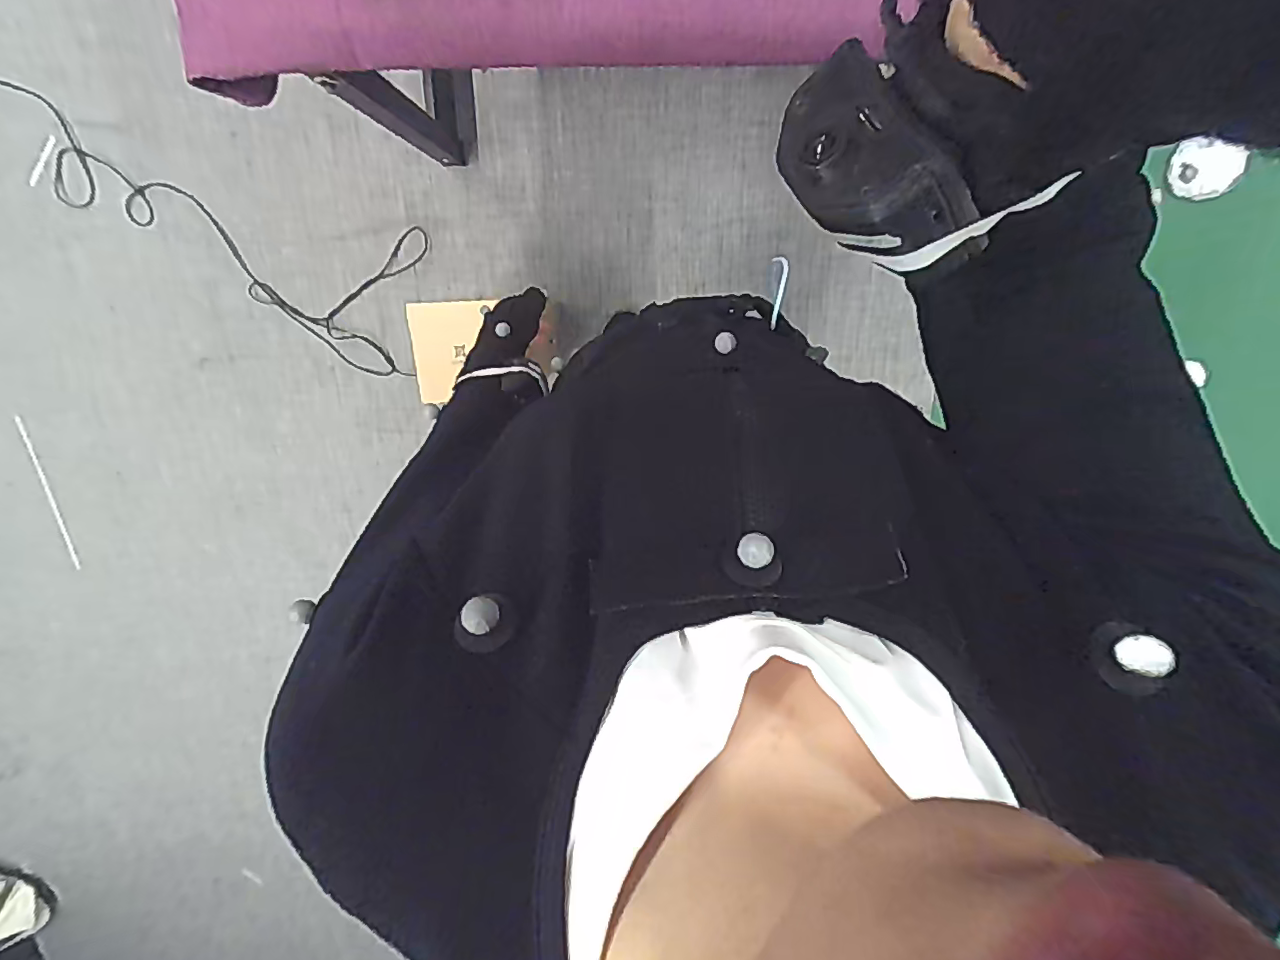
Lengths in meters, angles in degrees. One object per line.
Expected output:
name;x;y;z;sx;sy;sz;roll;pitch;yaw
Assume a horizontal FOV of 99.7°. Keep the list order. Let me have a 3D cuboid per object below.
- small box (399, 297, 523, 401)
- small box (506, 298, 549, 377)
small box;-0.323;-0.250;1.010;0.168;0.176;0.179;-1;111;1
small box;-0.319;-0.353;1.321;0.168;0.176;0.179;2;109;1
